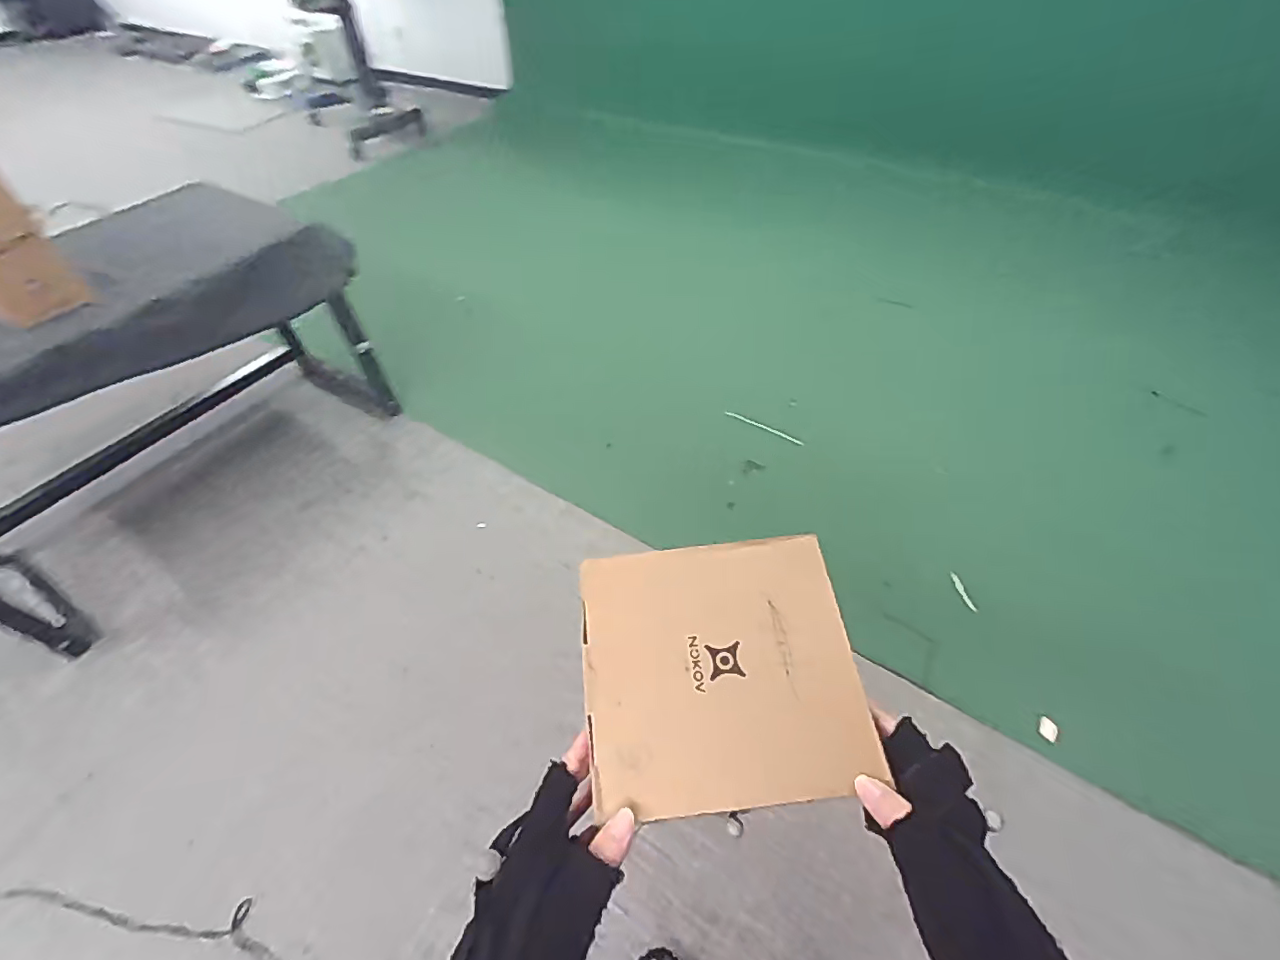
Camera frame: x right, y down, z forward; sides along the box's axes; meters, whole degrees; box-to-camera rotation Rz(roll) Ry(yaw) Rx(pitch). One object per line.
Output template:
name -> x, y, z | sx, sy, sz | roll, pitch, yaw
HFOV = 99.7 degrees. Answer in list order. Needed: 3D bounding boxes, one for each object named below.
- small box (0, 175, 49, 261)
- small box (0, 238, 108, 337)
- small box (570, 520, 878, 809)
small box -> -1.413, -0.564, 1.131 | 0.168, 0.176, 0.179 | 27, 58, 24
small box -> -1.415, -0.457, 1.257 | 0.179, 0.176, 0.168 | 25, 56, 22
small box -> 0.049, 0.152, 0.425 | 0.179, 0.176, 0.168 | -9, 60, -3
